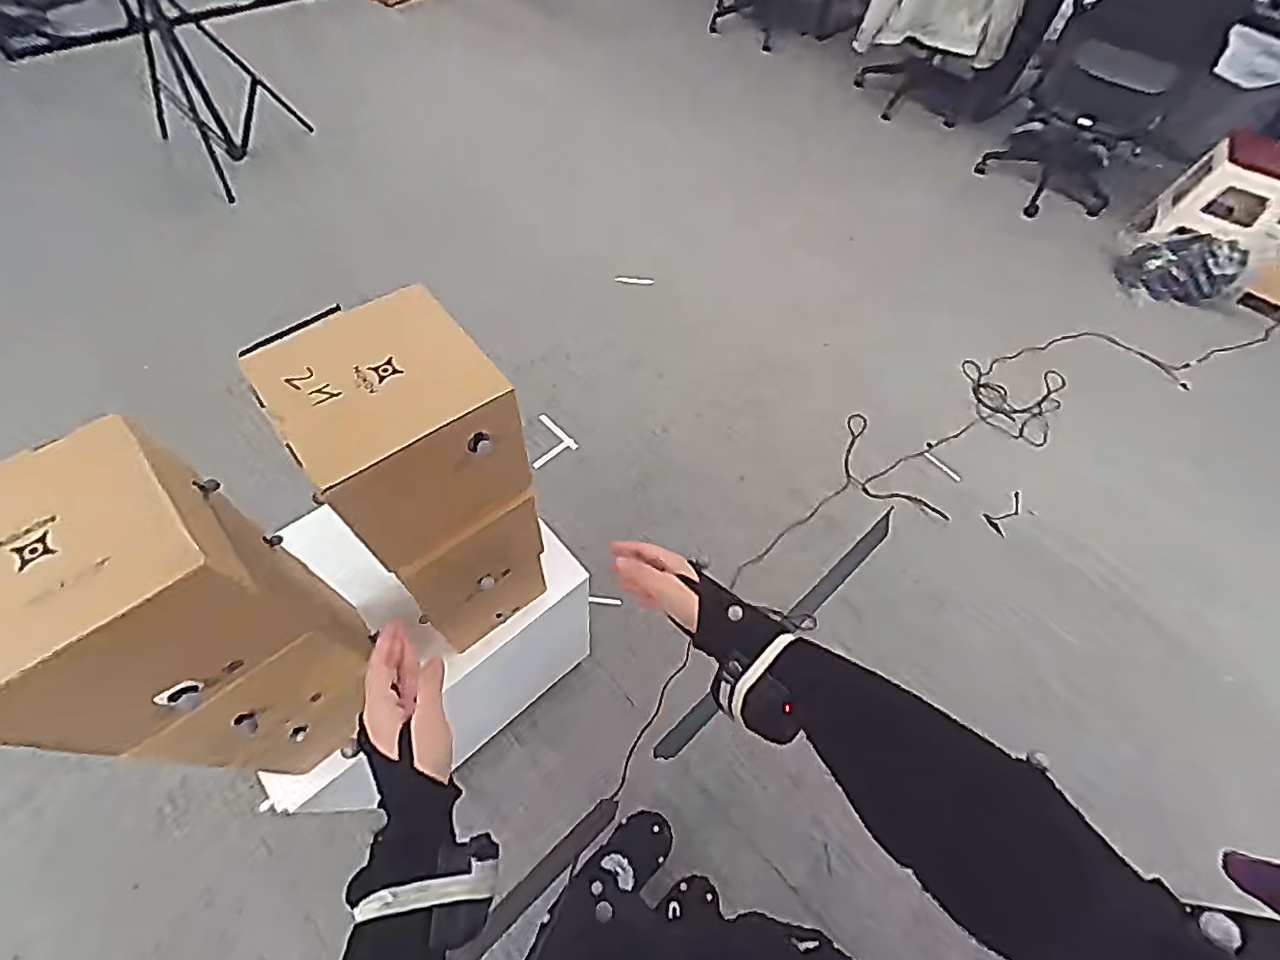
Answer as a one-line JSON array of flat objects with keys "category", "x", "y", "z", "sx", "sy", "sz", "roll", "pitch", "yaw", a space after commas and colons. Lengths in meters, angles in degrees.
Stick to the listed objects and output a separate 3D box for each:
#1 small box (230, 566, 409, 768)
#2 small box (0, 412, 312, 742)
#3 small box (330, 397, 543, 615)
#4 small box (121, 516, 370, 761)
[{"category": "small box", "x": -0.440, "y": 0.252, "z": 0.717, "sx": 0.168, "sy": 0.176, "sz": 0.179, "roll": -36, "pitch": 67, "yaw": -23}, {"category": "small box", "x": -0.415, "y": 0.085, "z": 0.438, "sx": 0.168, "sy": 0.176, "sz": 0.179, "roll": -38, "pitch": 70, "yaw": -23}, {"category": "small box", "x": -0.237, "y": 0.038, "z": 0.668, "sx": 0.168, "sy": 0.176, "sz": 0.179, "roll": -35, "pitch": 69, "yaw": -22}, {"category": "small box", "x": -0.426, "y": 0.170, "z": 0.576, "sx": 0.168, "sy": 0.176, "sz": 0.179, "roll": -38, "pitch": 69, "yaw": -23}]
